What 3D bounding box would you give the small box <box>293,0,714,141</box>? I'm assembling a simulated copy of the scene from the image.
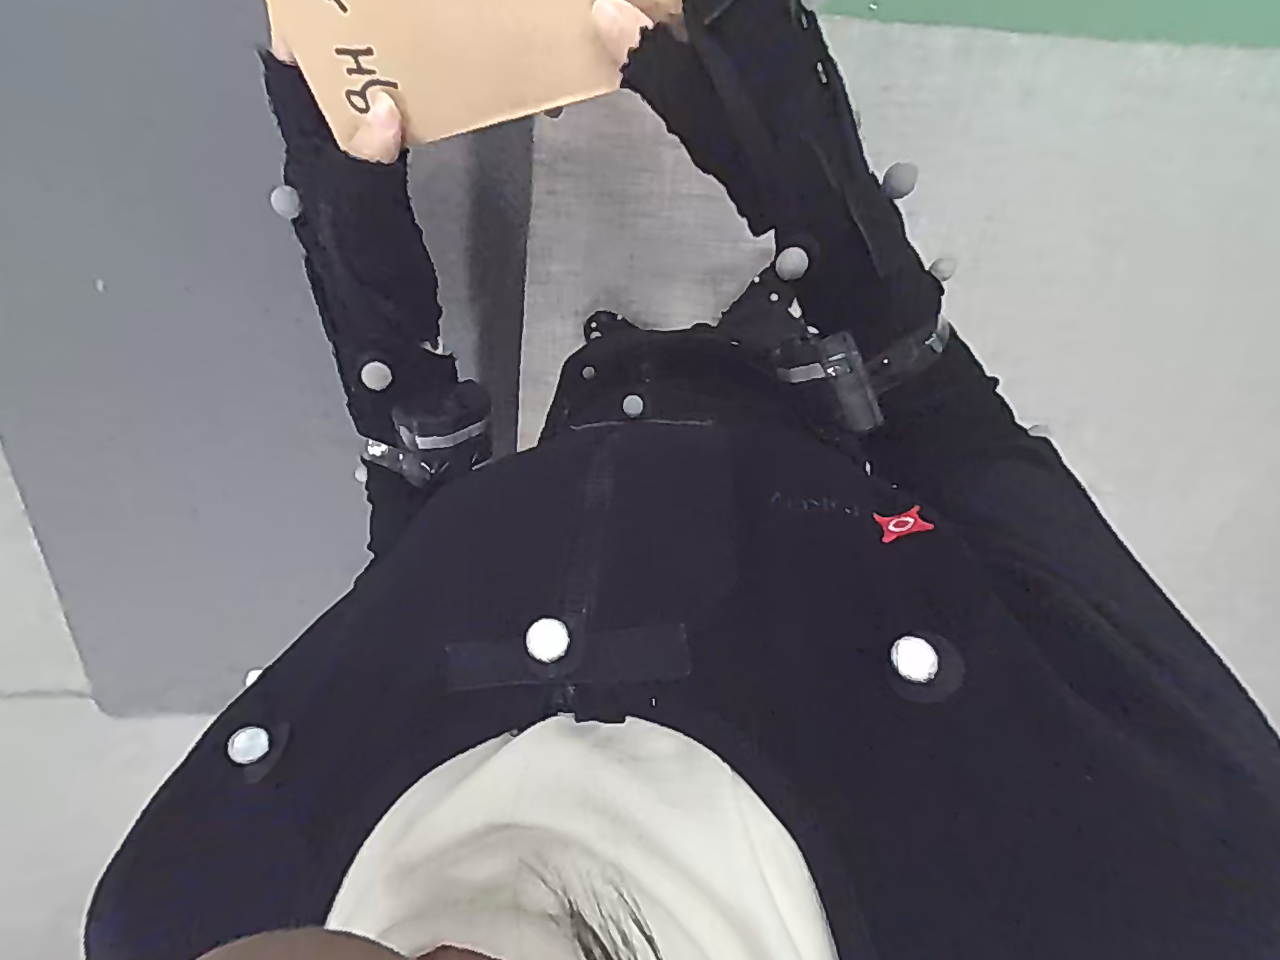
[{"bbox_3d":[-0.069,-0.287,0.258,0.179,0.176,0.168,-9,131,5],"label":"small box"}]
